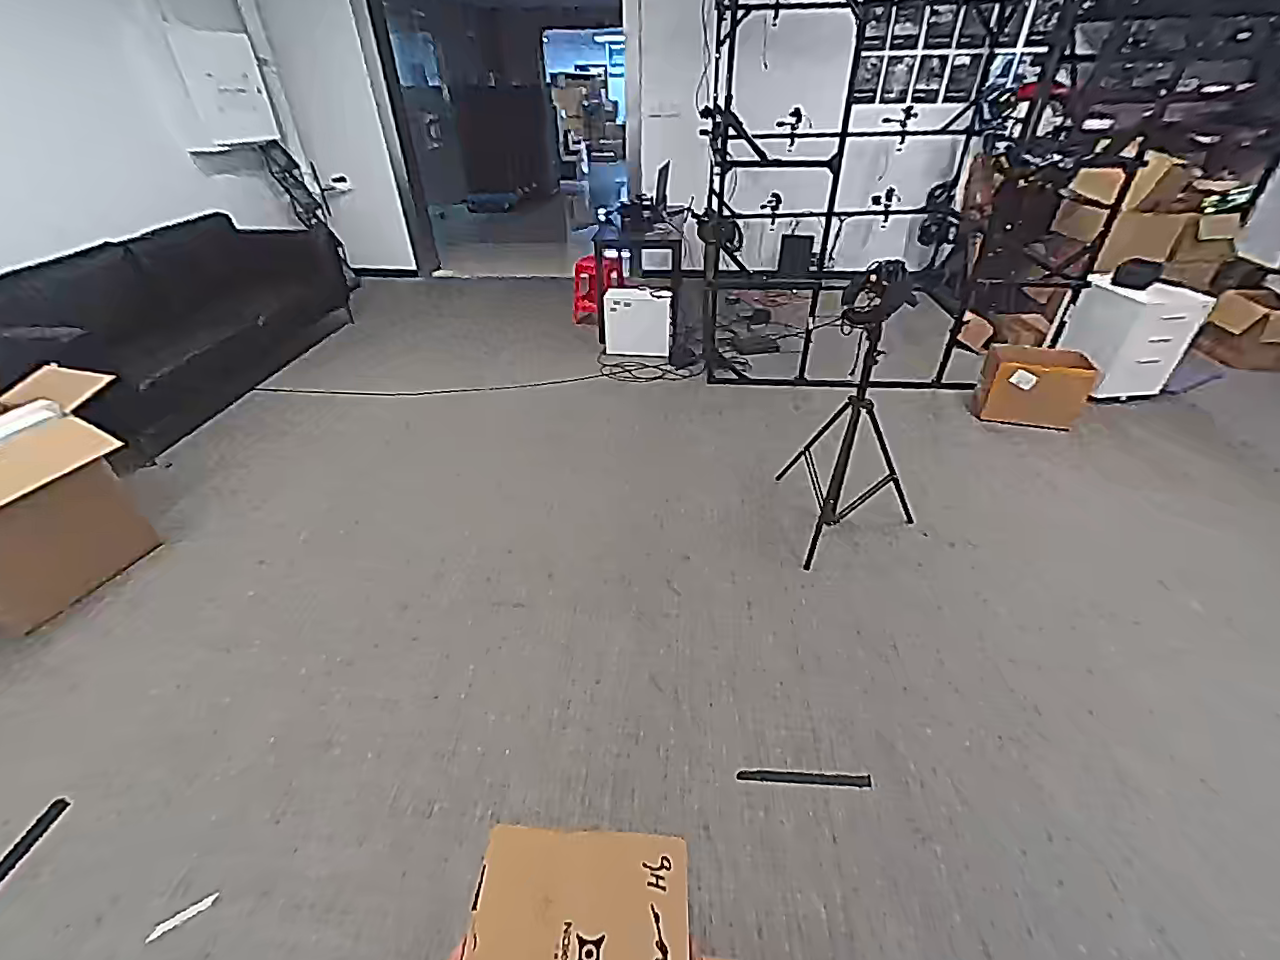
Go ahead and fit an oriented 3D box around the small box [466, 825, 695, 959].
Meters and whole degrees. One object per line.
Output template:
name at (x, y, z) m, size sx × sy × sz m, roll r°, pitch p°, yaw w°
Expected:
small box at (-0.049, 0.421, 0.463) m, size 0.179 × 0.176 × 0.168 m, roll 4°, pitch 40°, yaw -2°
